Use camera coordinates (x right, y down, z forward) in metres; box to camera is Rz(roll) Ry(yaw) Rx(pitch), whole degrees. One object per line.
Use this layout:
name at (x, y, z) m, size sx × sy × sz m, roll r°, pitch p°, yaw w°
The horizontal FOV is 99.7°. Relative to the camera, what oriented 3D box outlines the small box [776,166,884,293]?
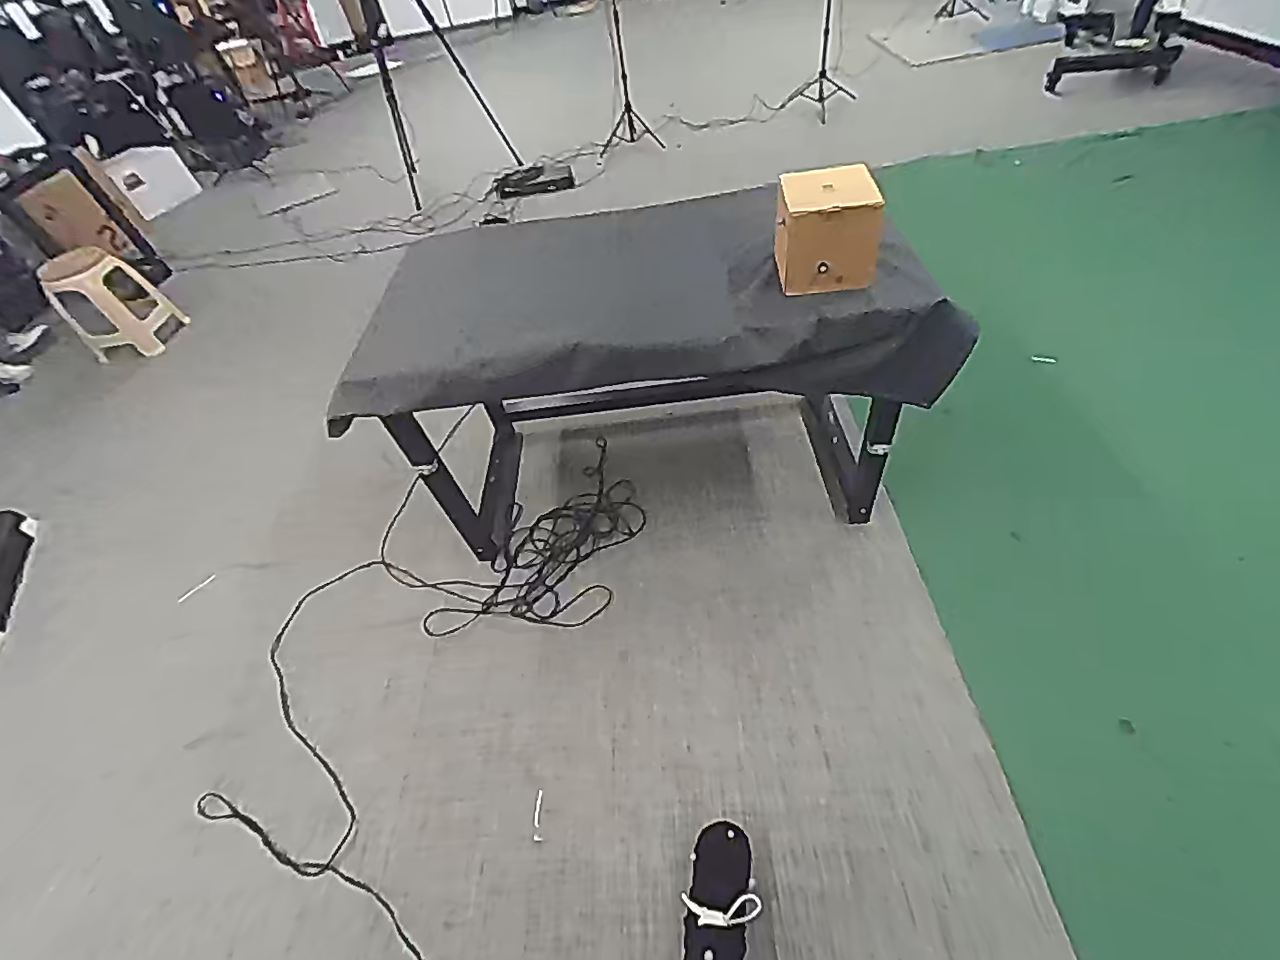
small box at (0.365, -0.494, 1.072) m, size 0.168 × 0.176 × 0.179 m, roll -4°, pitch 49°, yaw 8°
